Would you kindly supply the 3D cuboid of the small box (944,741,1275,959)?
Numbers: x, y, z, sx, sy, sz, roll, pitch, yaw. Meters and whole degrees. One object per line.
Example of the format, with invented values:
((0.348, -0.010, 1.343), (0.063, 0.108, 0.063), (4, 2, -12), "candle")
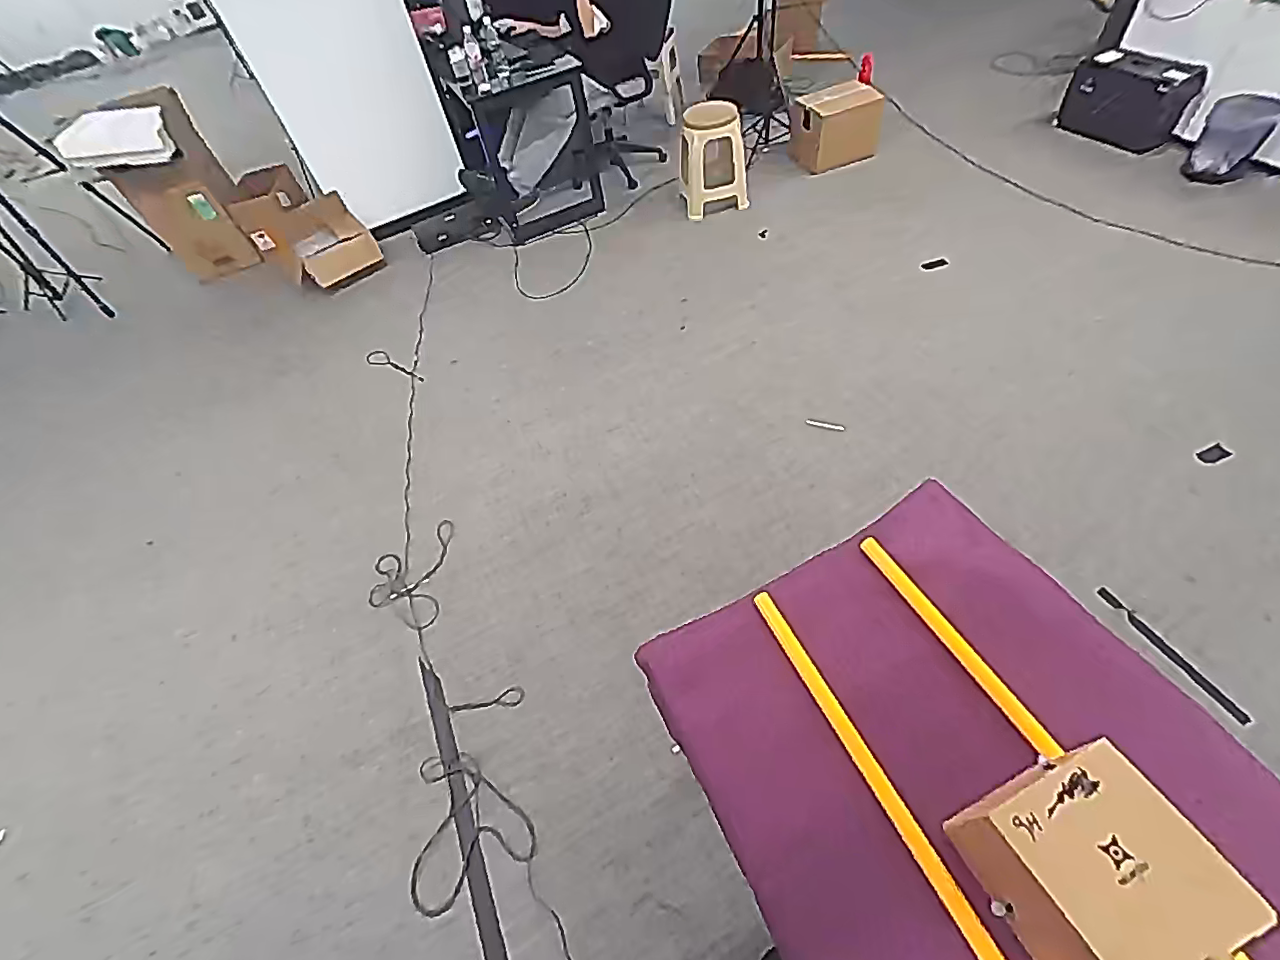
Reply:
((0.480, 0.420, 0.591), (0.168, 0.176, 0.179), (-24, 54, -8), "small box")
